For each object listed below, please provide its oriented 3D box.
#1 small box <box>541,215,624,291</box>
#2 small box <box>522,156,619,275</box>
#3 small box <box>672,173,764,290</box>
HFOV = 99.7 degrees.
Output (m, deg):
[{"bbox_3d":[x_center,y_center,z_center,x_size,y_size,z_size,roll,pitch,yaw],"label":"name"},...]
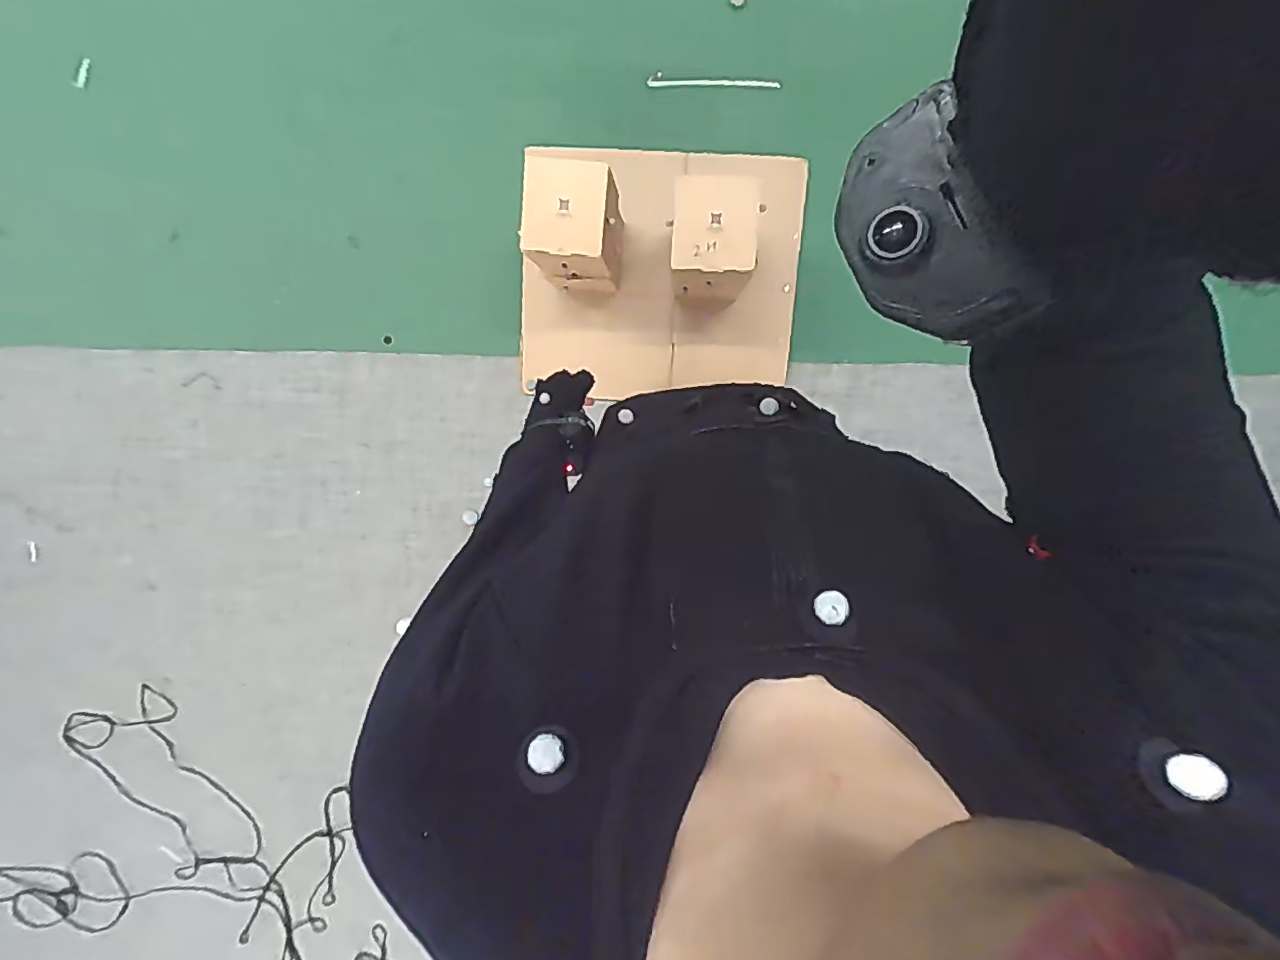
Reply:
[{"bbox_3d":[-0.132,-0.557,1.289,0.168,0.176,0.179,6,99,4],"label":"small box"},{"bbox_3d":[-0.138,-0.542,1.127,0.168,0.176,0.179,7,100,3],"label":"small box"},{"bbox_3d":[0.154,-0.502,1.112,0.168,0.176,0.179,4,99,4],"label":"small box"}]
